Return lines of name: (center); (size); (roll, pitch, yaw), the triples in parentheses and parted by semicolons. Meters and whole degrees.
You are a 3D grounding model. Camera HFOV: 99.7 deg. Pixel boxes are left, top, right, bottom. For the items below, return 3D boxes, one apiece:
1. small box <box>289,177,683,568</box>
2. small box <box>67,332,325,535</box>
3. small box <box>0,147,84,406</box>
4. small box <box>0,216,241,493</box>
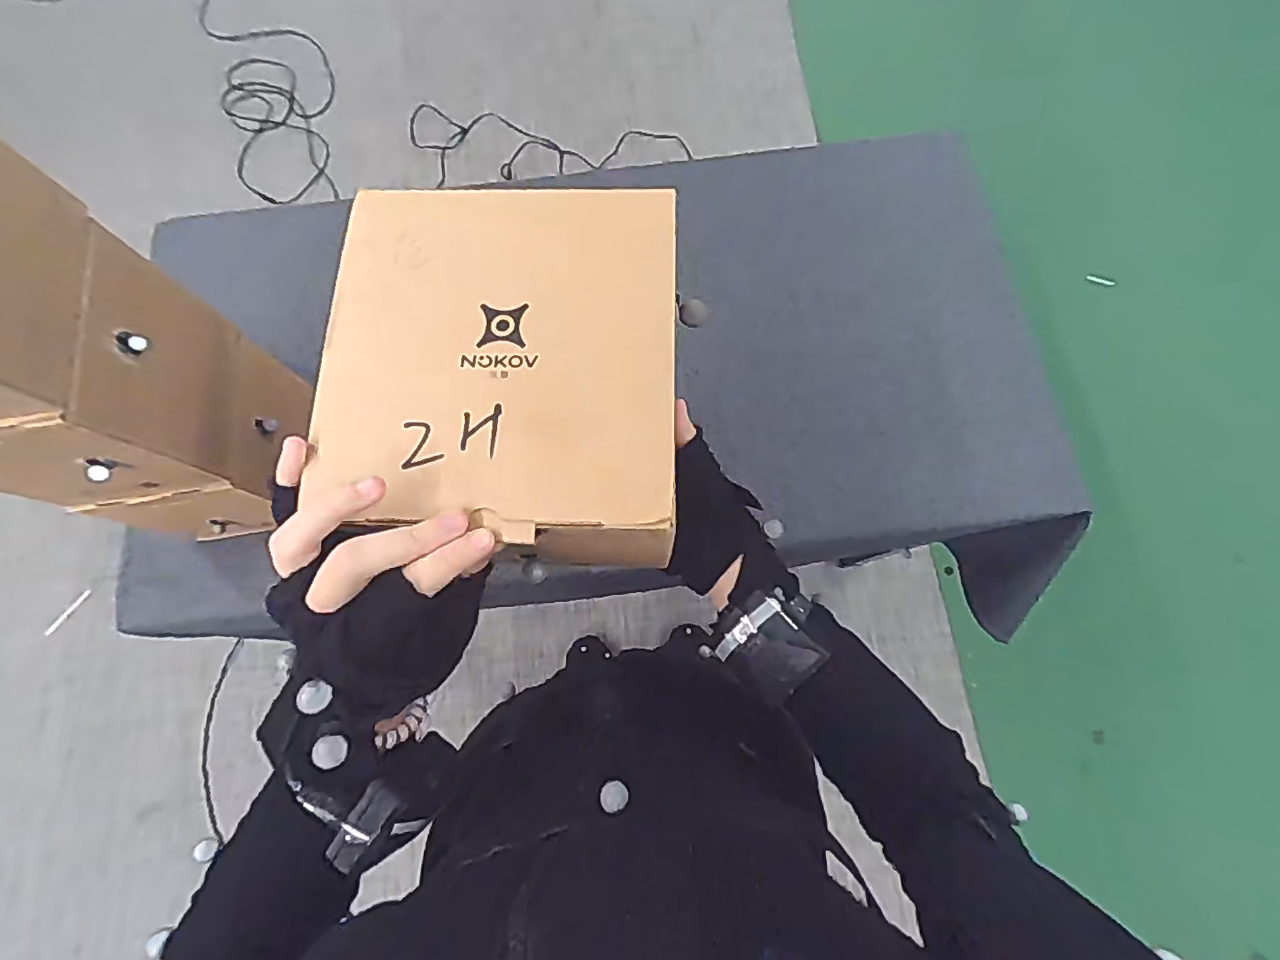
small box: (-0.065, -0.046, 0.331); (0.168, 0.176, 0.179); (3, 76, 2)
small box: (-0.491, -0.045, 0.630); (0.168, 0.176, 0.179); (-9, 75, -2)
small box: (-0.494, -0.143, 0.319); (0.168, 0.176, 0.179); (-9, 74, -3)
small box: (-0.491, -0.092, 0.475); (0.168, 0.176, 0.179); (-8, 74, -2)
